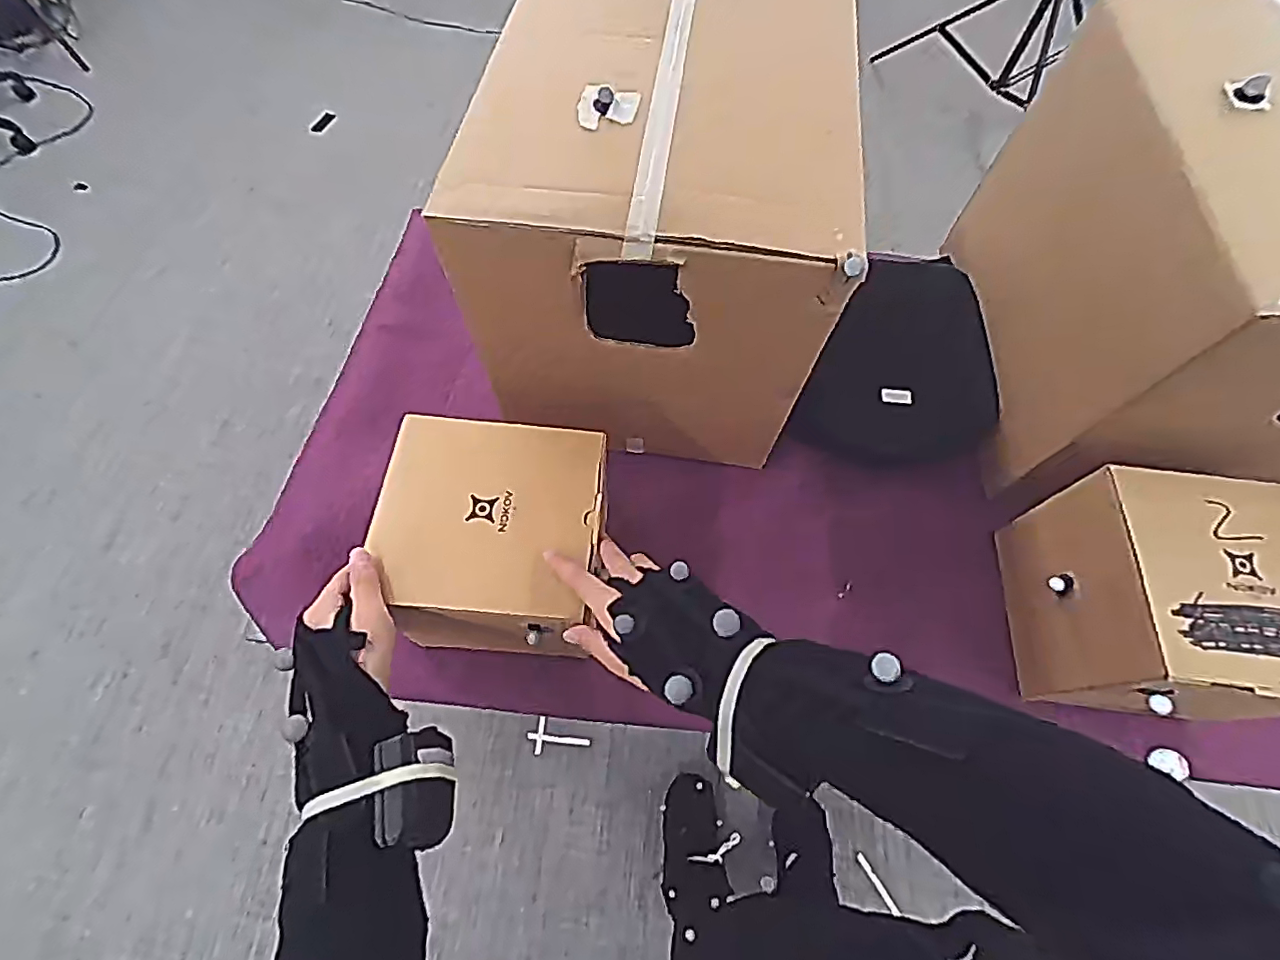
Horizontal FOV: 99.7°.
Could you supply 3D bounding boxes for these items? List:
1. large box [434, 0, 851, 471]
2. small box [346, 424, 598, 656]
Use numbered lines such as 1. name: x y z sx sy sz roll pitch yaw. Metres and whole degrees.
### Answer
1. large box: 0.020 -0.266 0.602 0.320 0.320 0.408 7 67 3
2. small box: -0.134 0.066 0.510 0.179 0.176 0.168 5 63 -2
